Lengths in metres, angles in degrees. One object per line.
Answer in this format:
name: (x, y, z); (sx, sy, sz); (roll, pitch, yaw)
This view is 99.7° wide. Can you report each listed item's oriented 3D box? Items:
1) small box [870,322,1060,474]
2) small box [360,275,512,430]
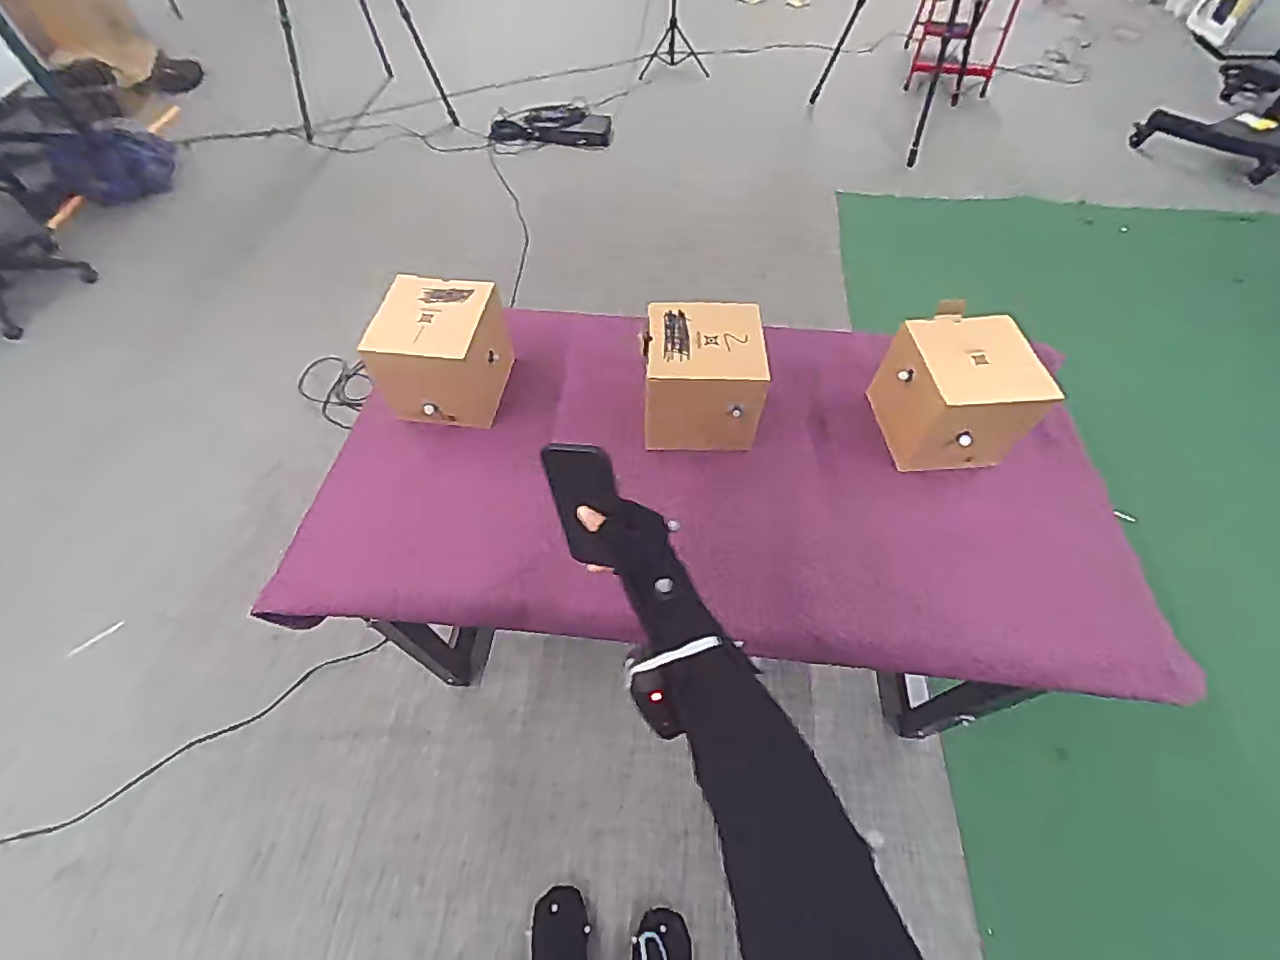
small box: (0.487, -0.121, 0.844); (0.168, 0.176, 0.179); (-3, 56, -2)
small box: (-0.321, -0.209, 0.897); (0.168, 0.176, 0.179); (7, 58, 4)
